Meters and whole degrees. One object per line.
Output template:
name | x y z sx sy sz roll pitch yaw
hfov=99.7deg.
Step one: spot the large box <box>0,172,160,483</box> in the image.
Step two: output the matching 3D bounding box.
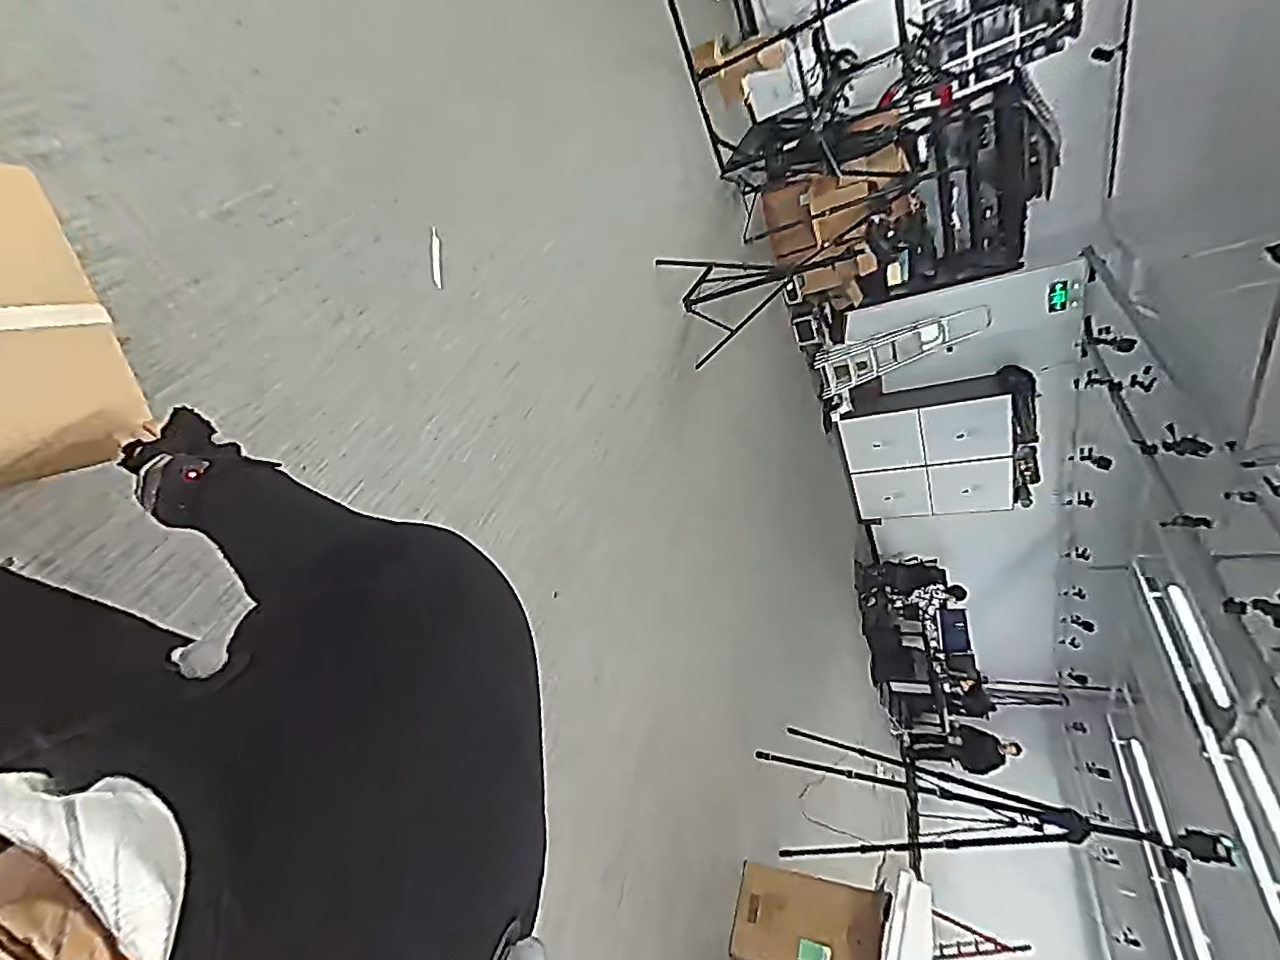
large box | -0.850 -0.111 0.547 0.408 0.320 0.320 -39 117 -56
